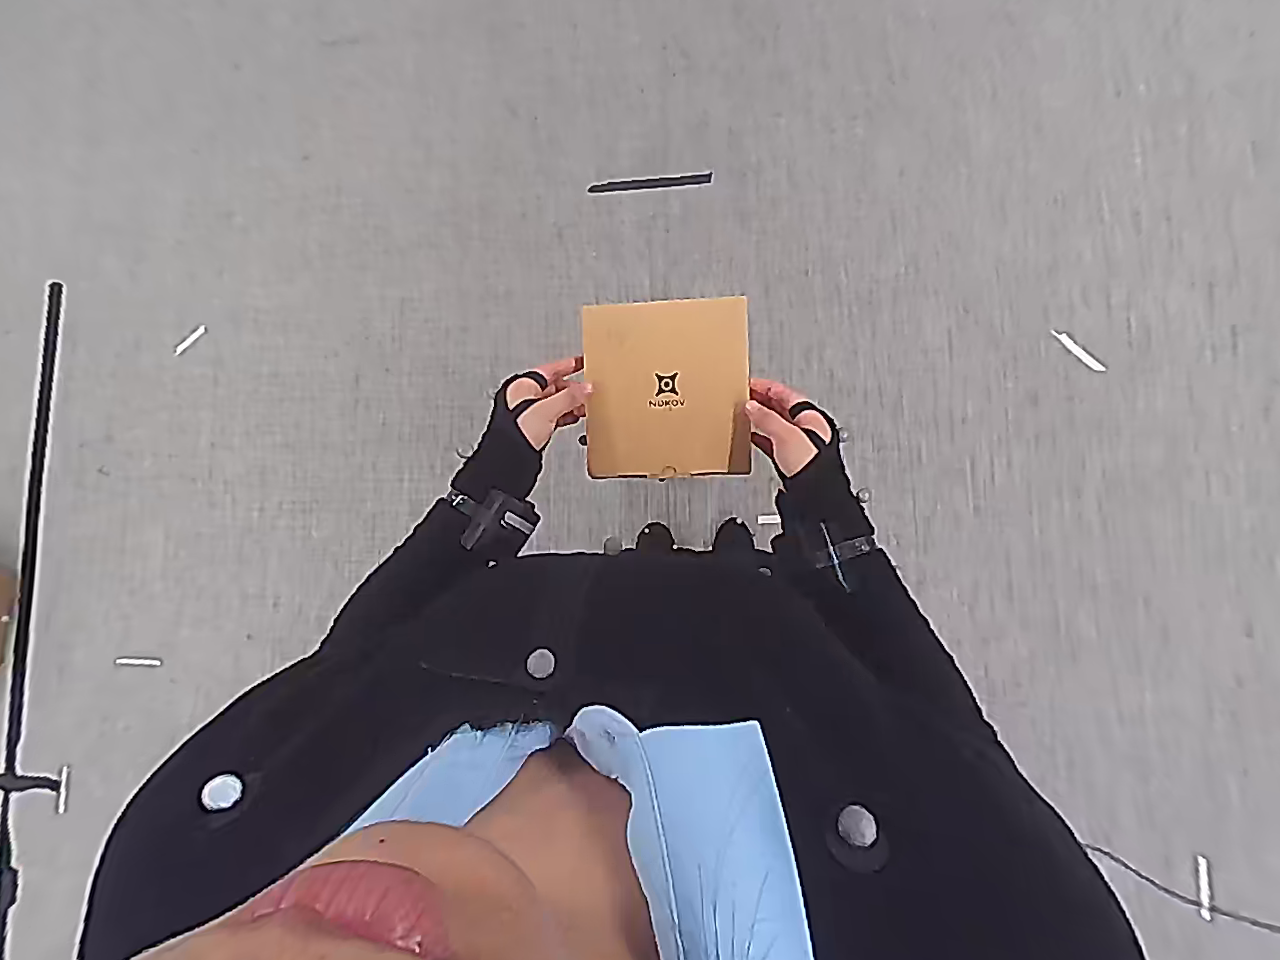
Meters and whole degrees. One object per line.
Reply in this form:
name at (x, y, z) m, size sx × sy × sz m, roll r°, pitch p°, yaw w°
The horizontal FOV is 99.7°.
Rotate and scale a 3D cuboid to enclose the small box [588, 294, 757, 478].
small box at (0.038, -0.097, 0.612) m, size 0.168 × 0.176 × 0.179 m, roll -2°, pitch 95°, yaw 5°
